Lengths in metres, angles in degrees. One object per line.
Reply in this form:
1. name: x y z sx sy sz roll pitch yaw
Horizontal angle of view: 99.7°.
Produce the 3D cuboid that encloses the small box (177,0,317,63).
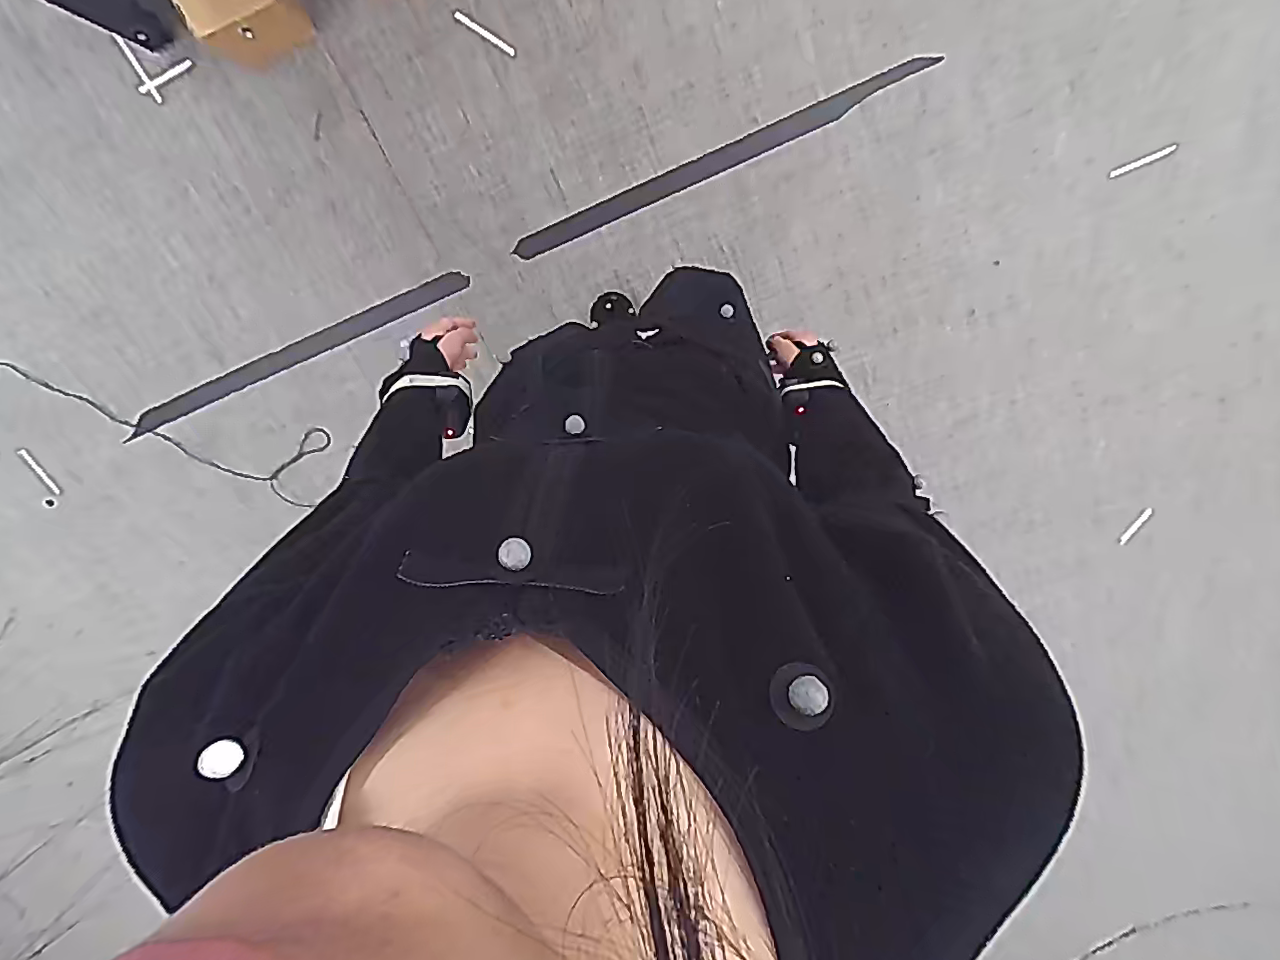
1. small box: -0.785 -0.962 1.055 0.179 0.176 0.168 -21 112 5
